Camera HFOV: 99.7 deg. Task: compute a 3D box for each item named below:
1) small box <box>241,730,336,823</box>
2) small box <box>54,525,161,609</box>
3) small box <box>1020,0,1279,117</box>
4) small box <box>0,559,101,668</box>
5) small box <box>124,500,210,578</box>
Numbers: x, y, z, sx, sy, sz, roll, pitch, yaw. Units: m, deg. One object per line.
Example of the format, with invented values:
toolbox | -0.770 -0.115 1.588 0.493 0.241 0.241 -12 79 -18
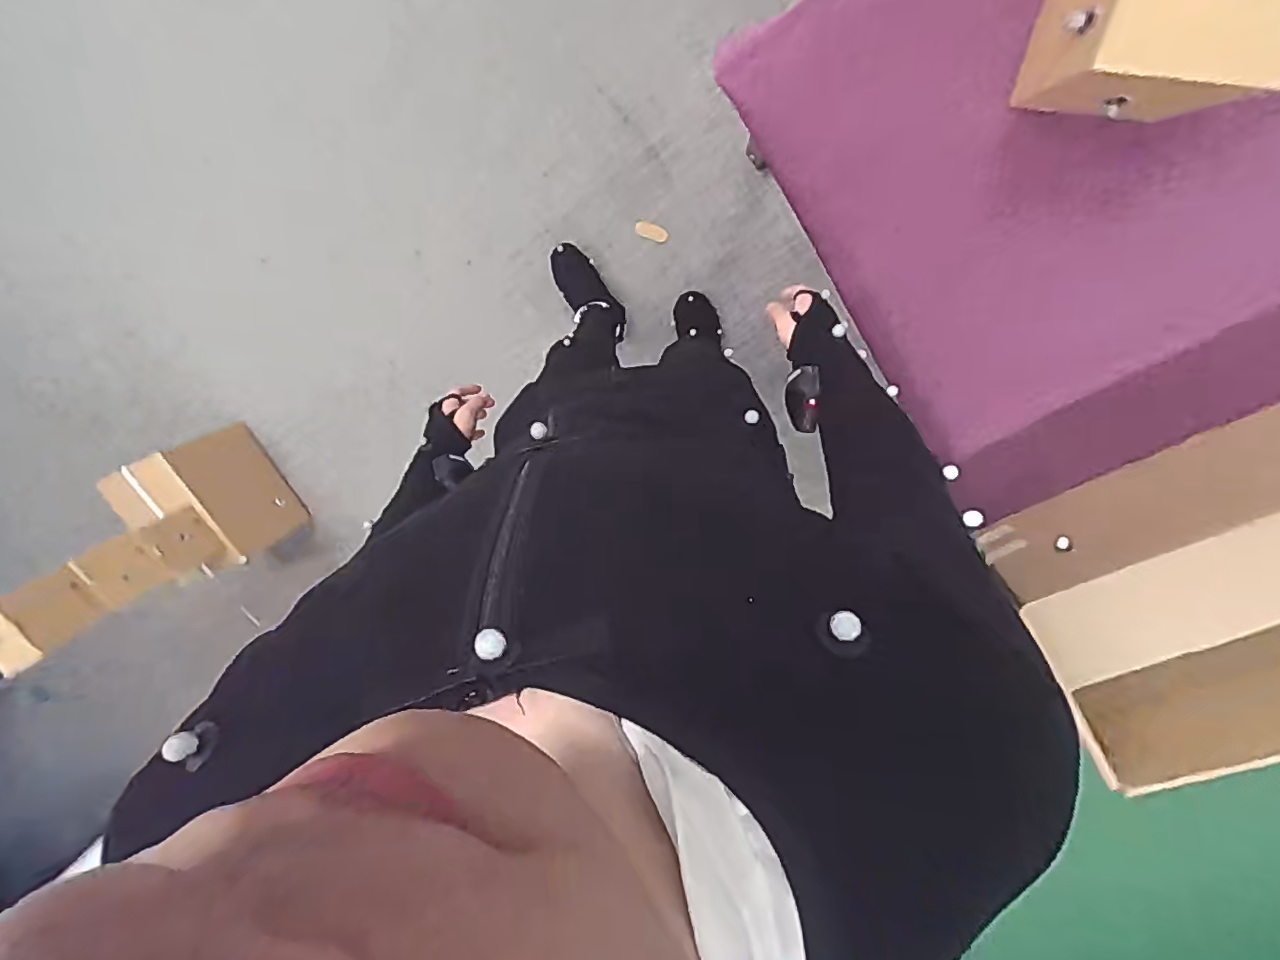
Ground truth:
small box | -1.104 0.930 1.709 0.179 0.176 0.168 32 115 -6
small box | -1.450 0.246 1.448 0.179 0.176 0.168 -22 110 18
small box | 0.520 -0.479 0.533 0.168 0.176 0.179 10 116 3
small box | -1.475 0.317 1.304 0.179 0.176 0.168 -23 109 19
small box | -1.428 0.181 1.596 0.179 0.176 0.168 -22 109 16
